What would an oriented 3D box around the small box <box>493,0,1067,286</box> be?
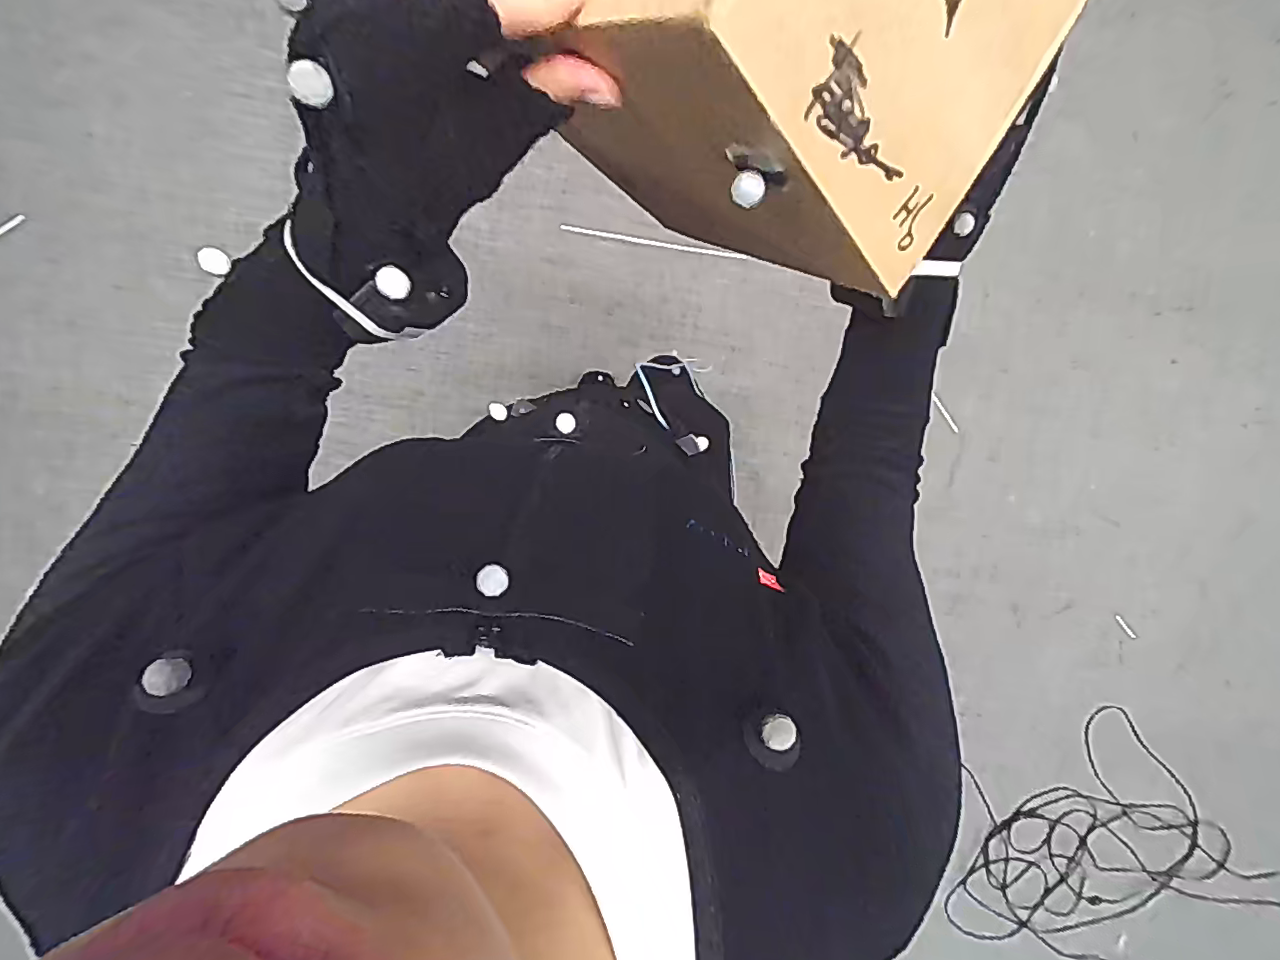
[{"bbox_3d":[0.062,-0.222,0.240,0.168,0.176,0.179,16,107,-48],"label":"small box"}]
